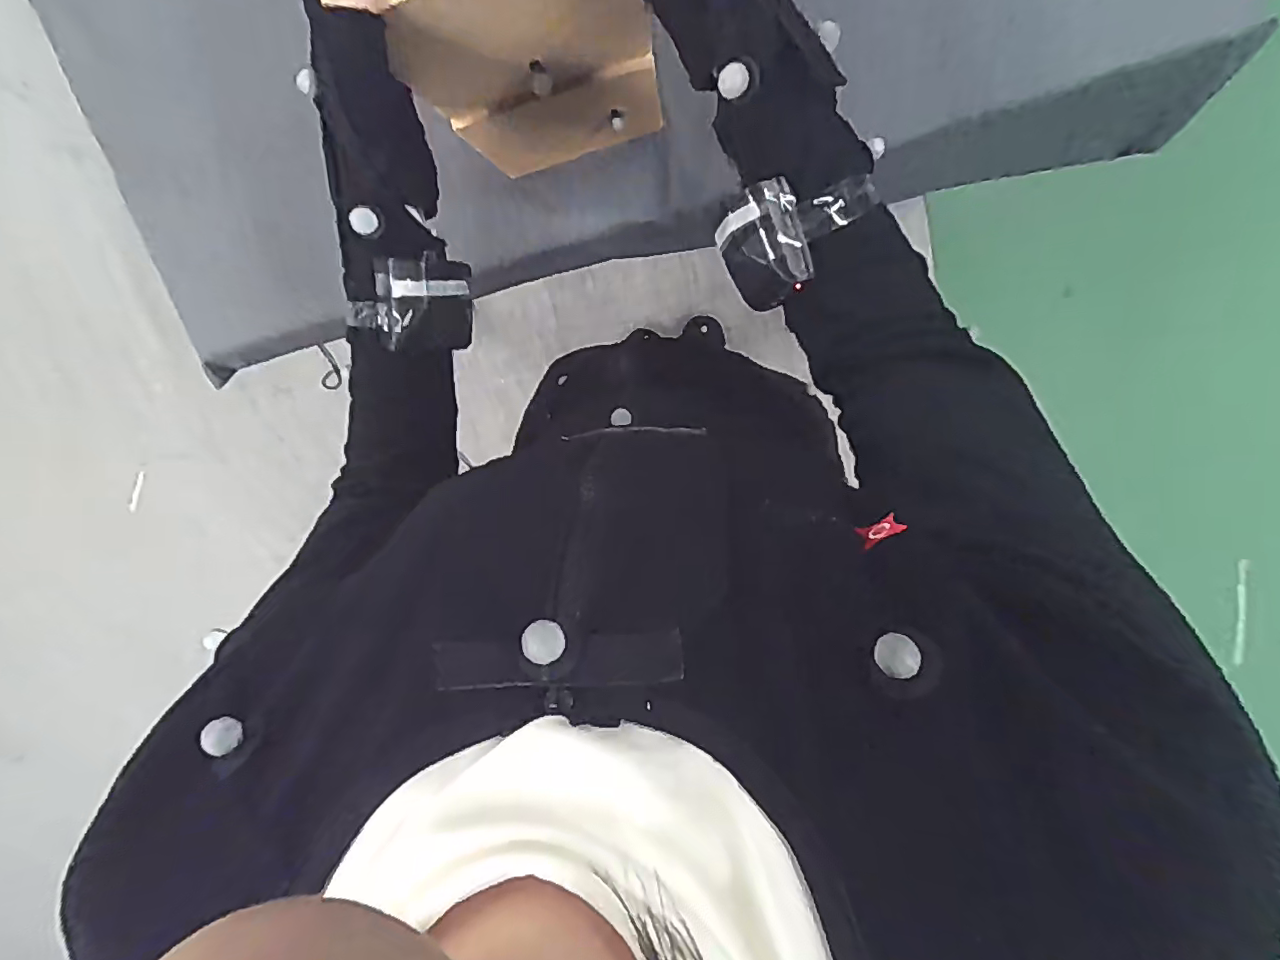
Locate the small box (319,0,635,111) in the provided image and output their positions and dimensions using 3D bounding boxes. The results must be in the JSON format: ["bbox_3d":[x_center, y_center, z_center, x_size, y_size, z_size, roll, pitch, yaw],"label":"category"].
[{"bbox_3d":[-0.103,-0.368,0.335,0.179,0.176,0.168,-13,107,8],"label":"small box"}]

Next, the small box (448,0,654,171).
[{"bbox_3d":[-0.088,-0.414,0.497,0.179,0.176,0.168,-14,104,10],"label":"small box"}]
